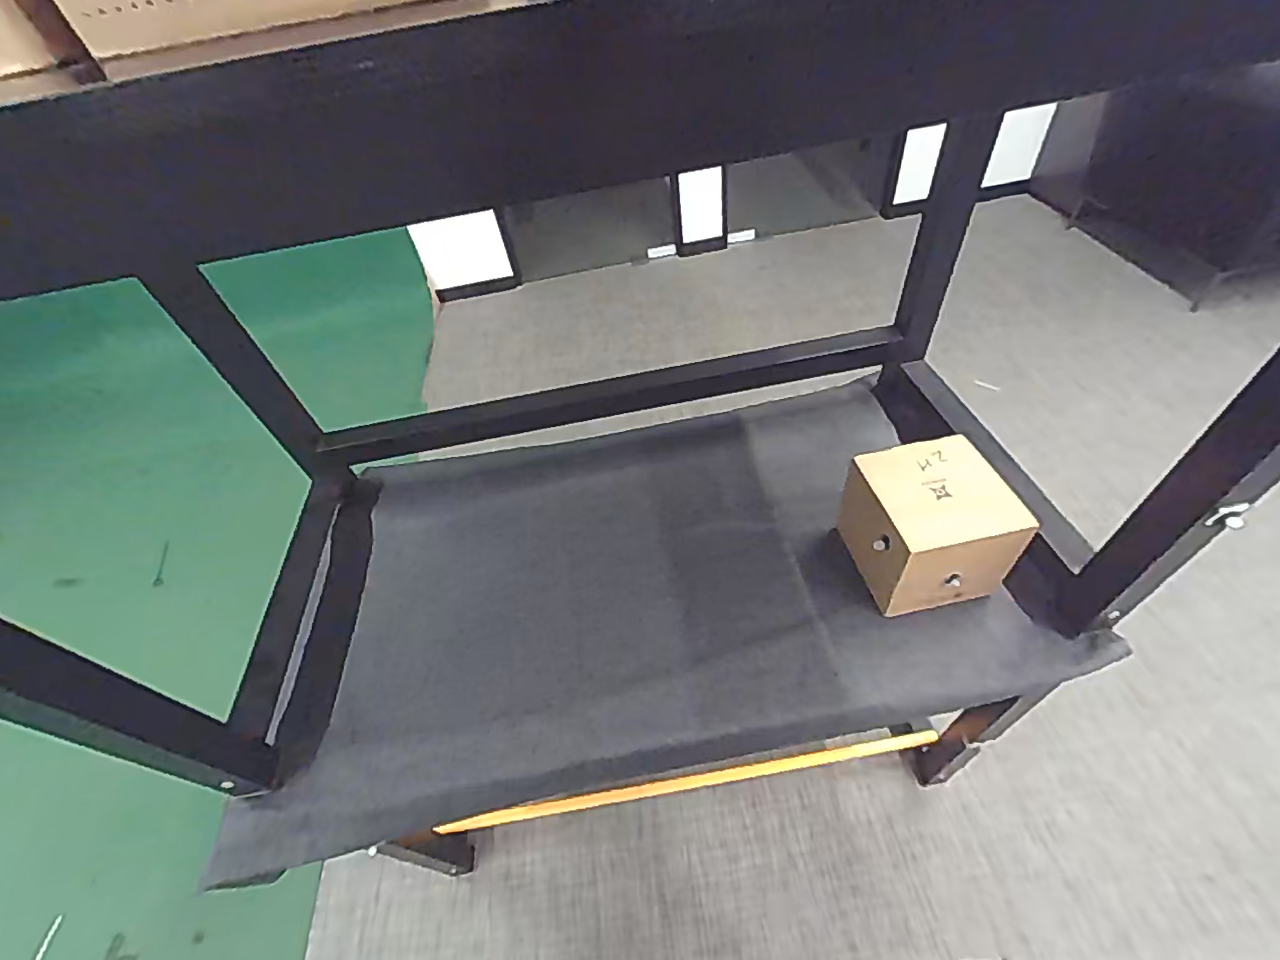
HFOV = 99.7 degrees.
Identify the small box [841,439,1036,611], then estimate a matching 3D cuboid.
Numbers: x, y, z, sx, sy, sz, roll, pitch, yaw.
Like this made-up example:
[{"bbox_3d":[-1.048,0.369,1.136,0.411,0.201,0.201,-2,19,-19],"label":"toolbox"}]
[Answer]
[{"bbox_3d":[0.411,0.073,0.782,0.168,0.176,0.179,-12,46,-1],"label":"small box"}]
